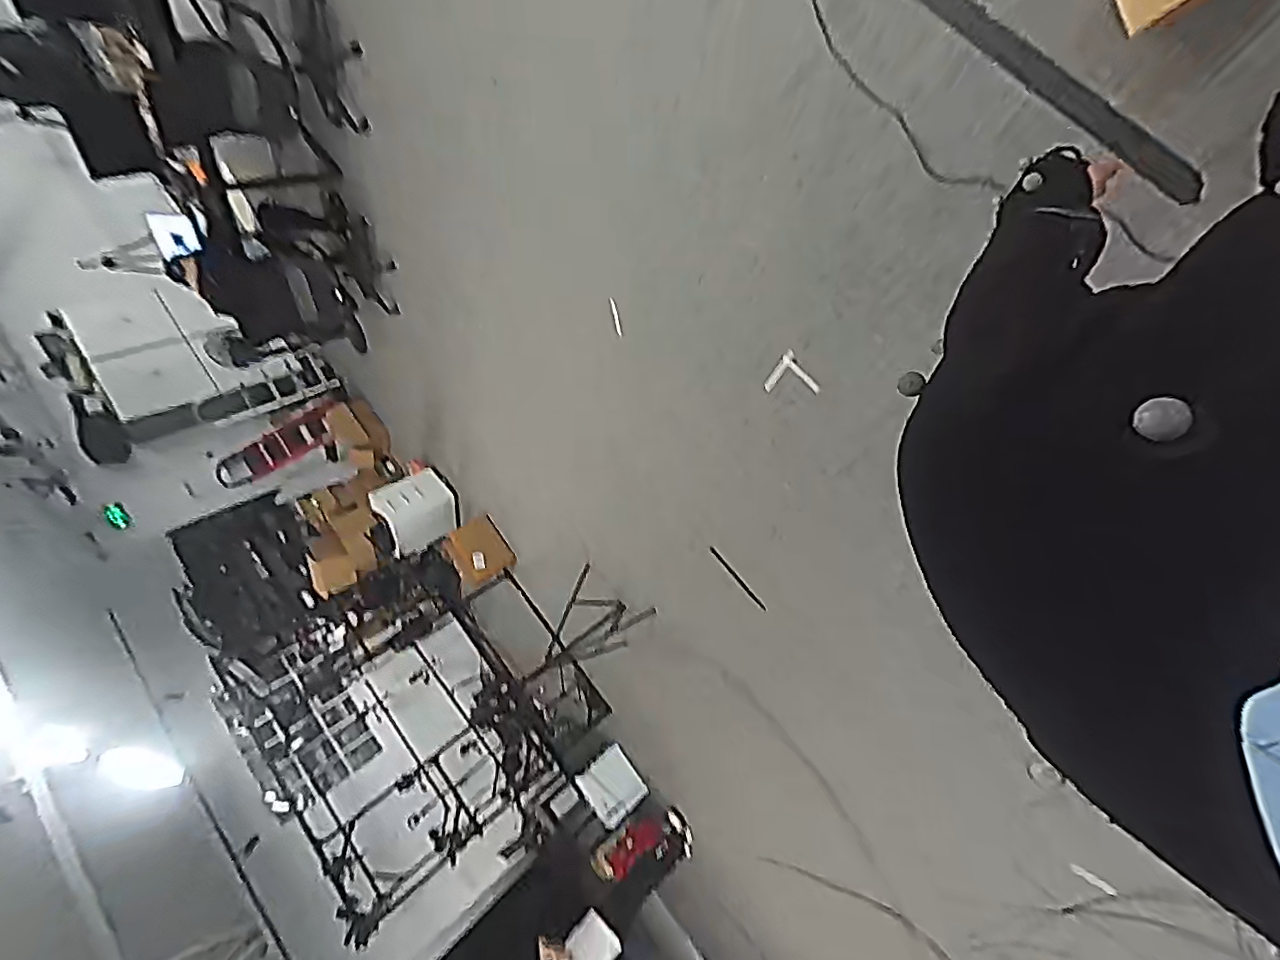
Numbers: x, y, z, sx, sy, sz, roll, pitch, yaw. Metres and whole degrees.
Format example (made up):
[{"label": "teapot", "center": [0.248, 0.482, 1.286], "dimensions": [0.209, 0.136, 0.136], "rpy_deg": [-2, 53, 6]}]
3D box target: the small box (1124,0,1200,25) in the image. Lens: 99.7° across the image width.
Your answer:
[{"label": "small box", "center": [0.840, -0.829, 0.811], "dimensions": [0.179, 0.176, 0.168], "rpy_deg": [-20, 100, 55]}]
